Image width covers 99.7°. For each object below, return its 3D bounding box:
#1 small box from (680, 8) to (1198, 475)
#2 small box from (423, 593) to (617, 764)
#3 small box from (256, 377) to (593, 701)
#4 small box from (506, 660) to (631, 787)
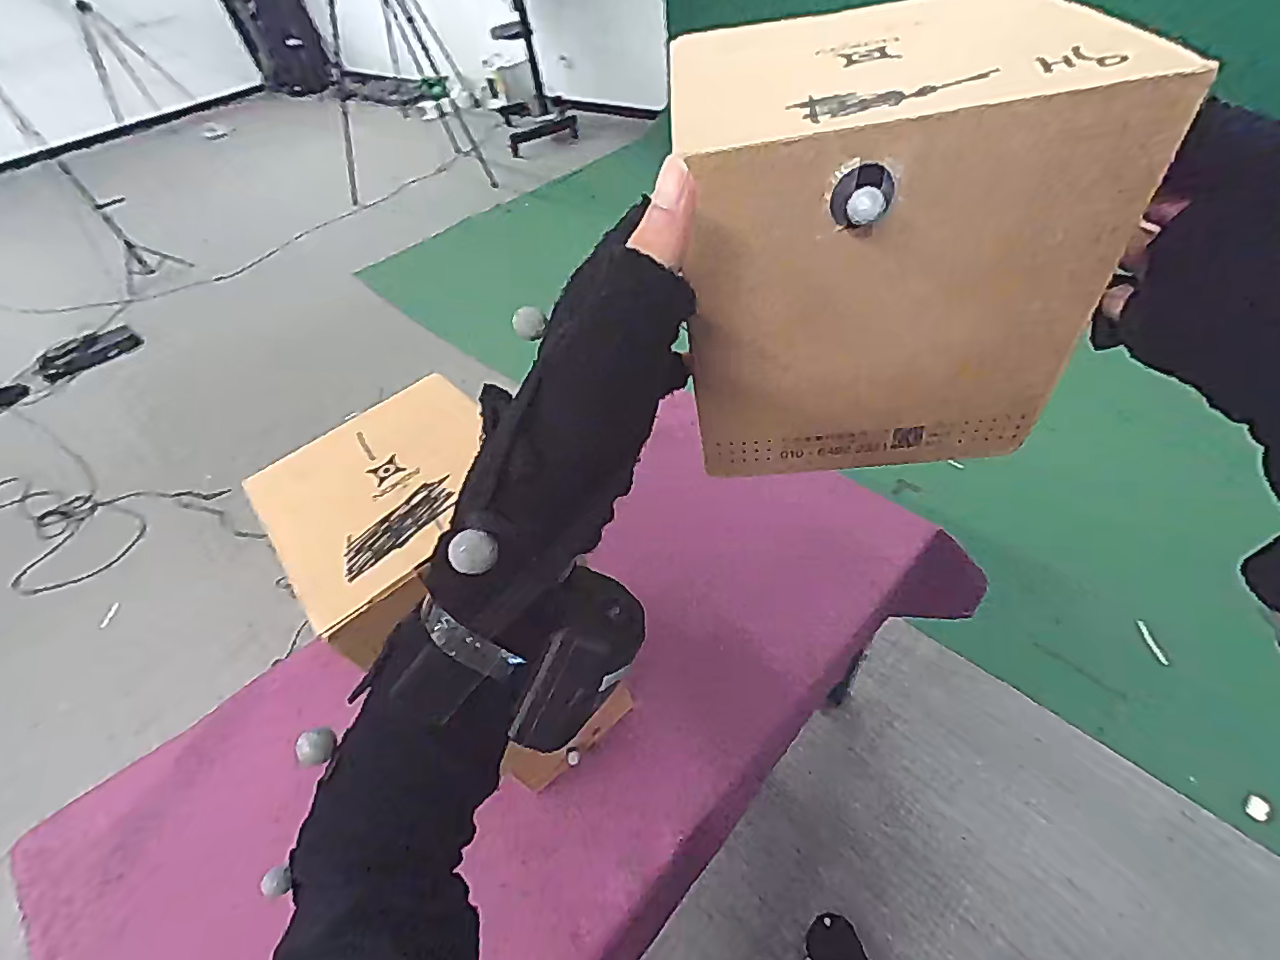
[{"bbox_3d":[0.113,-0.124,0.295,0.168,0.176,0.179,-4,47,9],"label":"small box"},{"bbox_3d":[-0.148,0.159,0.568,0.168,0.176,0.179,-38,53,-21],"label":"small box"},{"bbox_3d":[-0.161,0.053,0.444,0.168,0.176,0.179,-37,52,-21],"label":"small box"},{"bbox_3d":[-0.133,0.257,0.700,0.168,0.176,0.179,-36,53,-21],"label":"small box"}]
